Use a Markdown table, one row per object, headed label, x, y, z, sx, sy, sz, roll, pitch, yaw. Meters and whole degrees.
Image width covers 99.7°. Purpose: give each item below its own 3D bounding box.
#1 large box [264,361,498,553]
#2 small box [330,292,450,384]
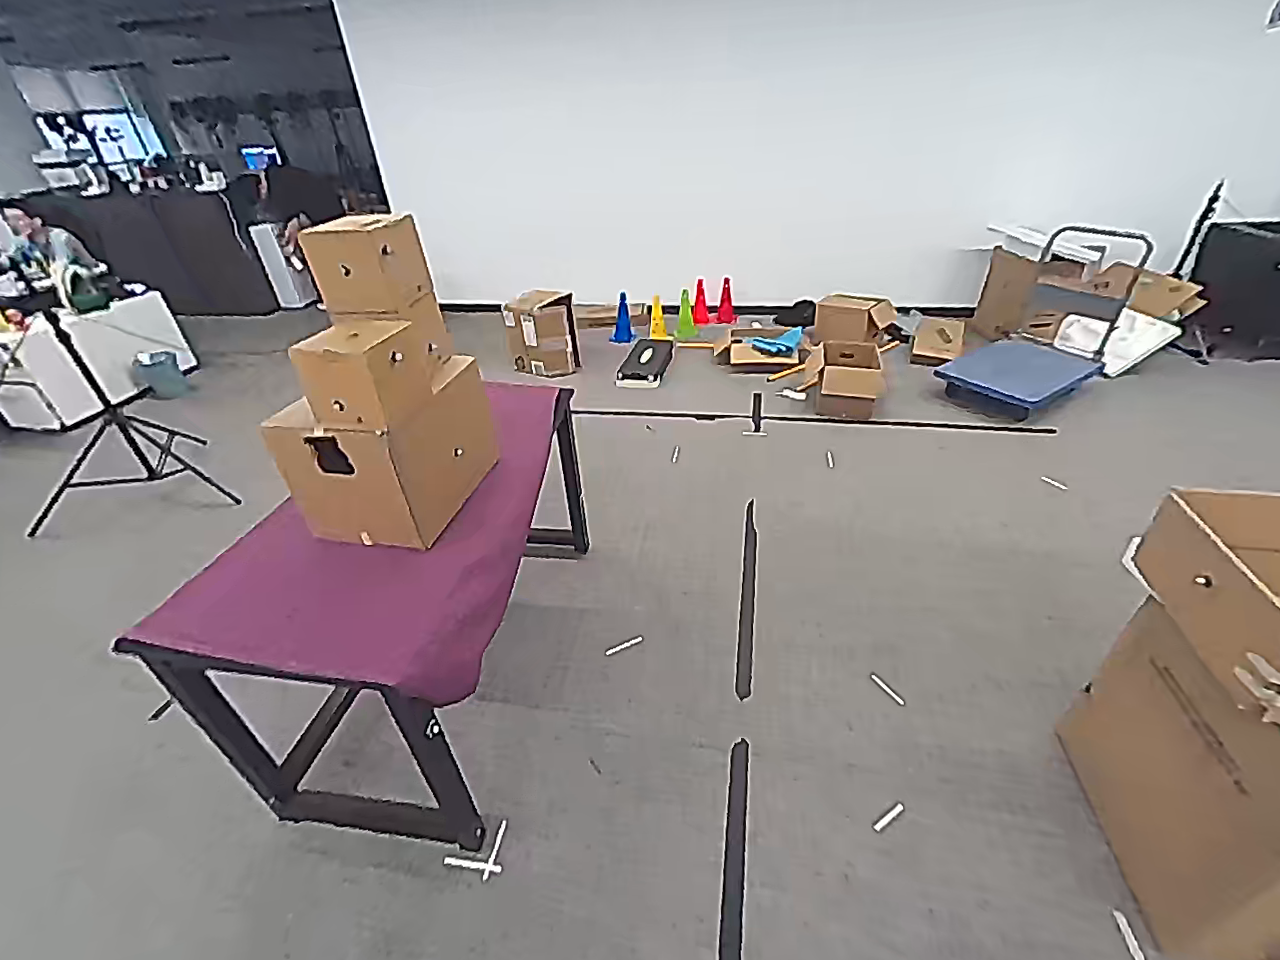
| label | x | y | z | sx | sy | sz | roll | pitch | yaw |
| --- | --- | --- | --- | --- | --- | --- | --- | --- | --- |
| large box | -0.593 | -0.073 | 1.339 | 0.320 | 0.320 | 0.408 | 2 | 36 | 12 |
| small box | -0.586 | -0.339 | 1.290 | 0.179 | 0.176 | 0.168 | 3 | 37 | 11 |
